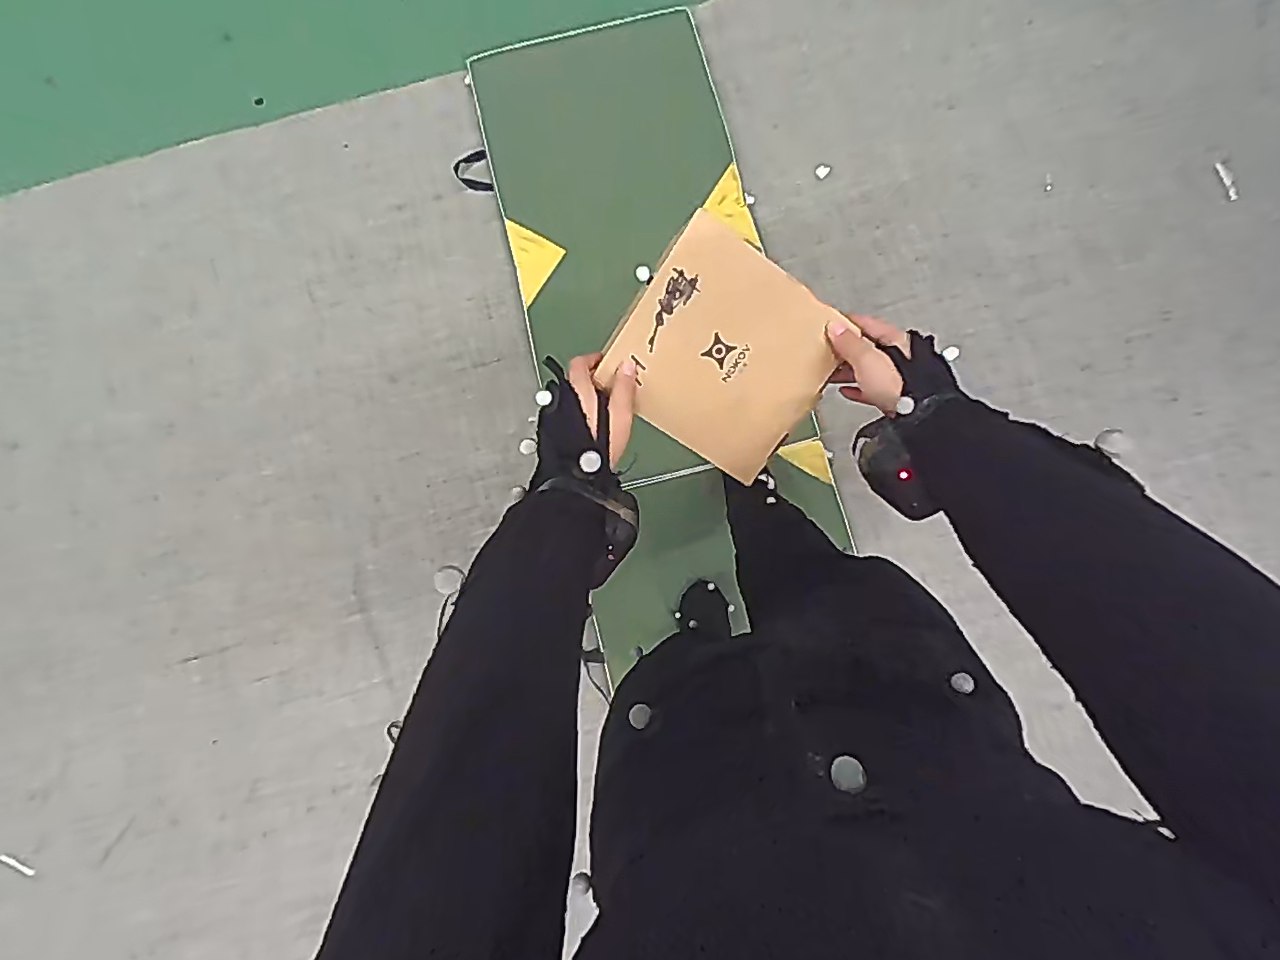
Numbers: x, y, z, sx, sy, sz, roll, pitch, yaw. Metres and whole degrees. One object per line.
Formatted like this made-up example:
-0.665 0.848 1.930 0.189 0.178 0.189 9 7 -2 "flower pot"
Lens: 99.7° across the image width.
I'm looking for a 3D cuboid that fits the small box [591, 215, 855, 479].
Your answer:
0.069 -0.132 0.544 0.179 0.176 0.168 32 103 -11 "small box"
